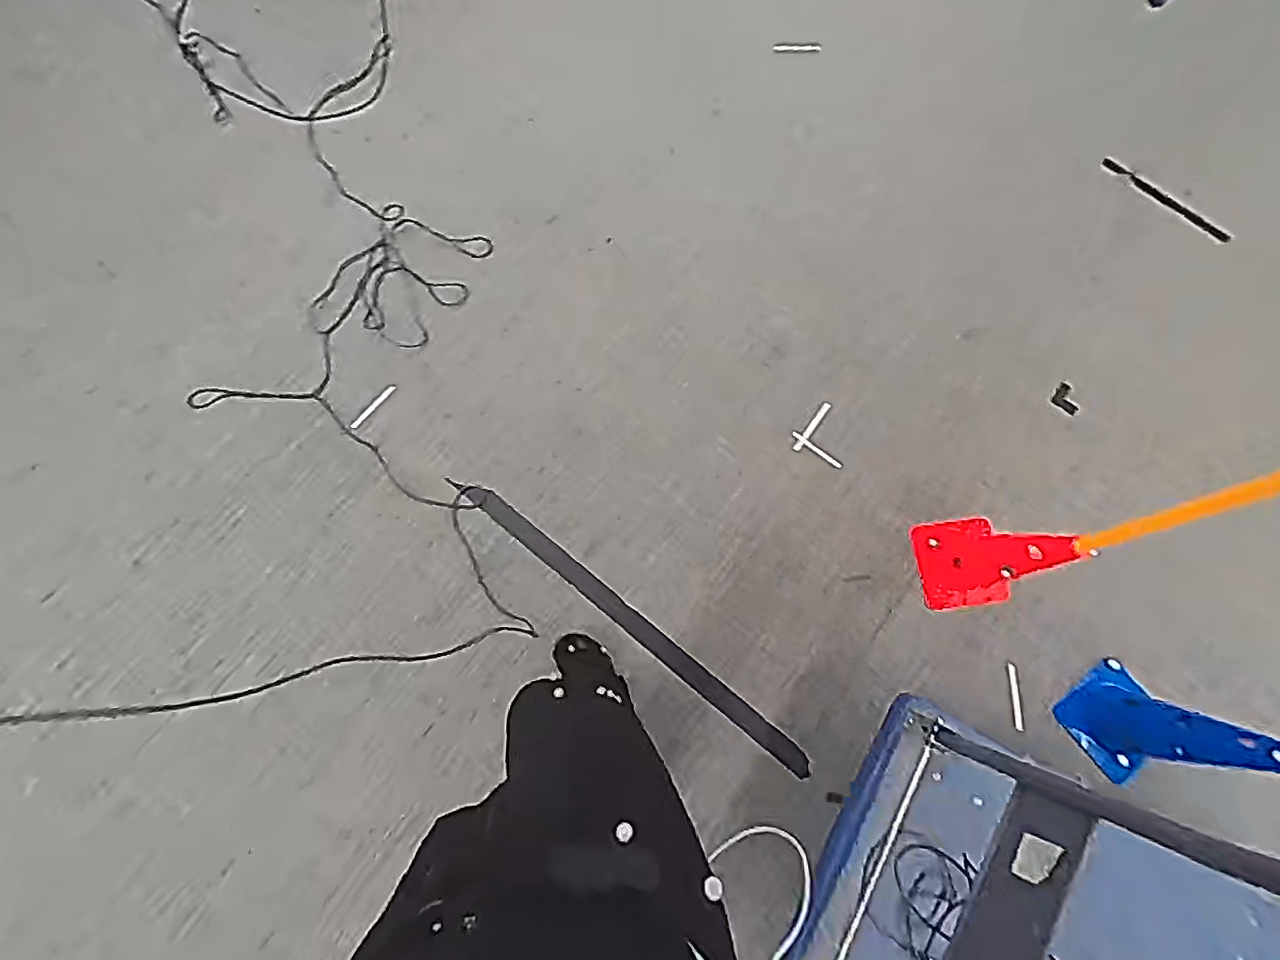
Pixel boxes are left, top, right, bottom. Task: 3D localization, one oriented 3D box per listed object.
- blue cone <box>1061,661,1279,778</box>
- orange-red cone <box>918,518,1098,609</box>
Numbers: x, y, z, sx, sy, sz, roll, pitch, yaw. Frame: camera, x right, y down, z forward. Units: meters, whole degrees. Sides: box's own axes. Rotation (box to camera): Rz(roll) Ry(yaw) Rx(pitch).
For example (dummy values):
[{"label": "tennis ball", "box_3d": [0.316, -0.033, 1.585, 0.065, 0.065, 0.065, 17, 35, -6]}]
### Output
[{"label": "blue cone", "box_3d": [1.044, 0.483, 1.022, 0.193, 0.380, 0.192, -35, 79, -9]}, {"label": "orange-red cone", "box_3d": [0.753, 0.153, 1.082, 0.198, 0.360, 0.199, -6, 78, -2]}]
